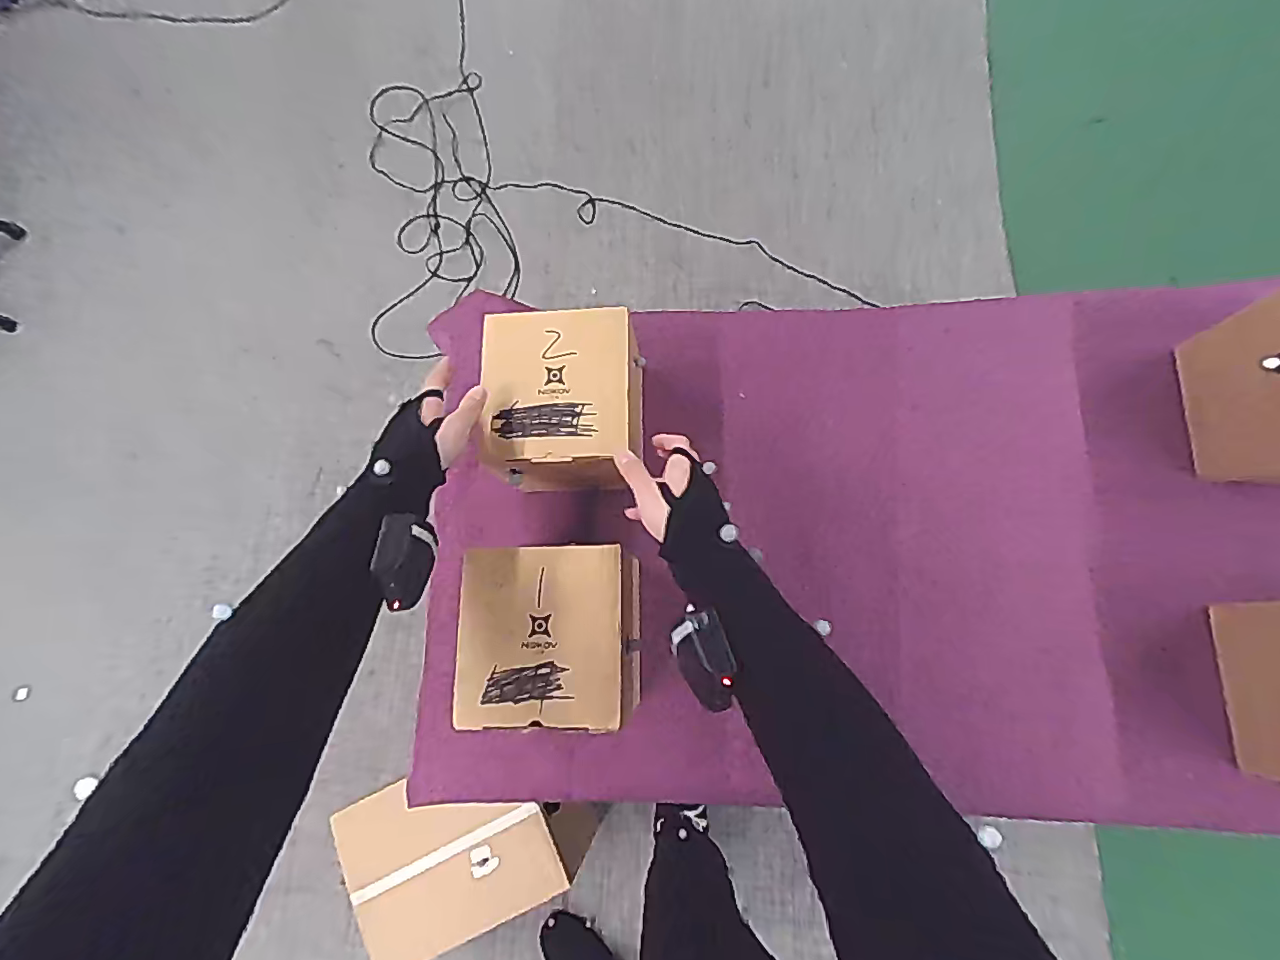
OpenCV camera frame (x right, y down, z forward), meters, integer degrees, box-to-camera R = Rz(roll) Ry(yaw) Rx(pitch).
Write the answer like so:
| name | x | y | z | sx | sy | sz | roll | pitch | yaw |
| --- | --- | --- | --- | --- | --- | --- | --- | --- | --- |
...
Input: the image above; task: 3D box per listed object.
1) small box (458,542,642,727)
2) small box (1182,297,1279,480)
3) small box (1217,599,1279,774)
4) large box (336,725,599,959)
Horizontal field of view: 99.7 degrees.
| name | x | y | z | sx | sy | sz | roll | pitch | yaw |
| --- | --- | --- | --- | --- | --- | --- | --- | --- | --- |
| small box | -0.087 | 0.168 | 0.608 | 0.168 | 0.176 | 0.179 | -2 | 75 | 5 |
| small box | 0.743 | -0.103 | 0.579 | 0.168 | 0.176 | 0.179 | 1 | 78 | 9 |
| small box | 0.714 | 0.203 | 0.508 | 0.168 | 0.176 | 0.179 | 1 | 74 | 9 |
| large box | -0.351 | 0.744 | 1.182 | 0.408 | 0.320 | 0.320 | -27 | 75 | -2 |
